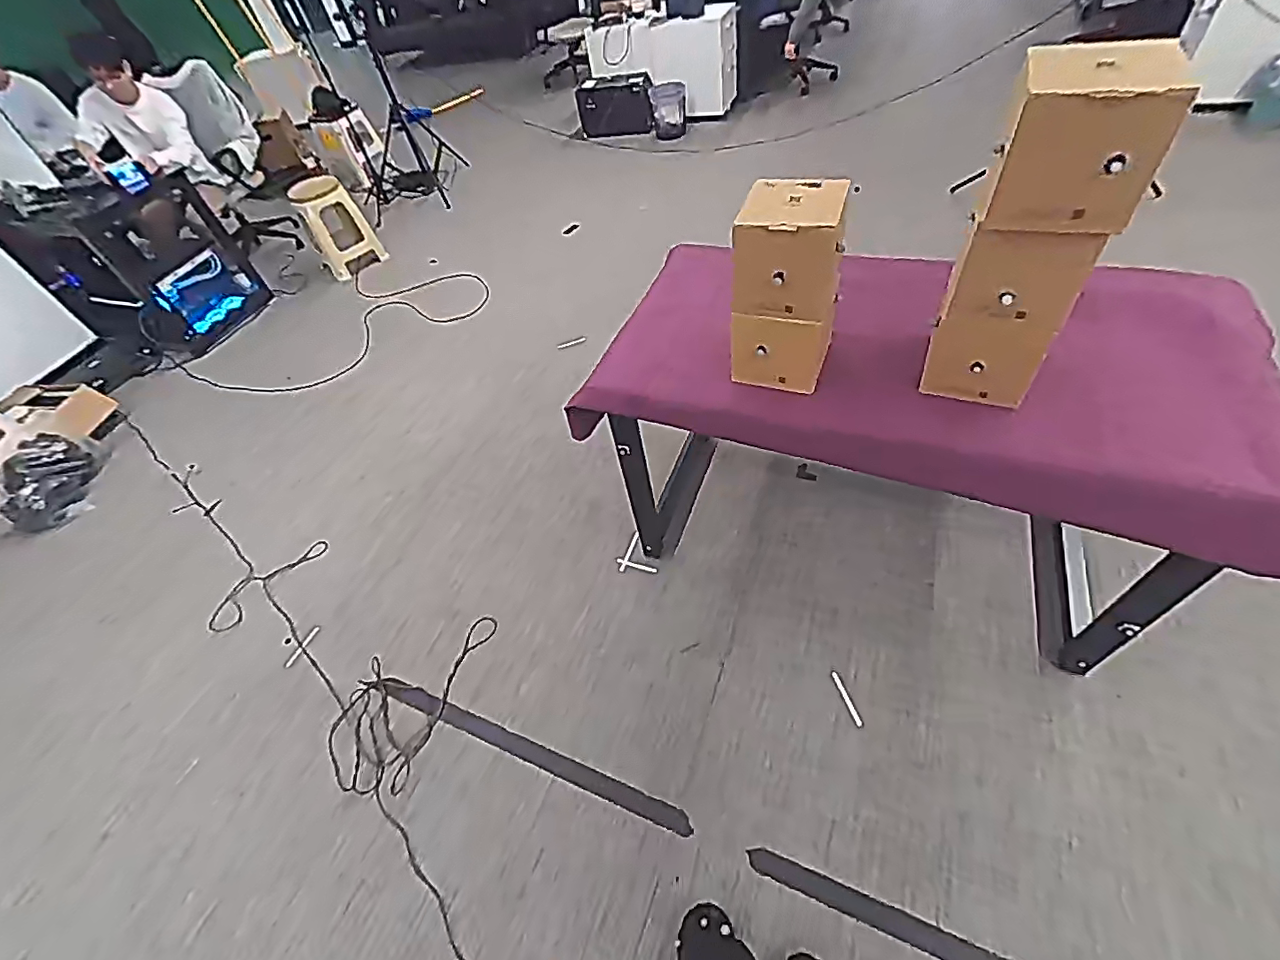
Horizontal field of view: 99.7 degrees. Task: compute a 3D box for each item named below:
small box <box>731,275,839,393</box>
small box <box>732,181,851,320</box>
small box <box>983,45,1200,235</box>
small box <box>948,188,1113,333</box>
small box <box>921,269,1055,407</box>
[{"bbox_3d":[0.288,-0.296,1.080,0.168,0.176,0.179,14,54,20],"label":"small box"},{"bbox_3d":[0.267,-0.406,0.960,0.168,0.176,0.179,12,53,19],"label":"small box"},{"bbox_3d":[0.580,-0.449,0.723,0.168,0.176,0.179,13,54,19],"label":"small box"},{"bbox_3d":[0.610,-0.363,0.860,0.168,0.176,0.179,15,56,22],"label":"small box"},{"bbox_3d":[0.628,-0.257,0.984,0.168,0.176,0.179,16,55,21],"label":"small box"}]
